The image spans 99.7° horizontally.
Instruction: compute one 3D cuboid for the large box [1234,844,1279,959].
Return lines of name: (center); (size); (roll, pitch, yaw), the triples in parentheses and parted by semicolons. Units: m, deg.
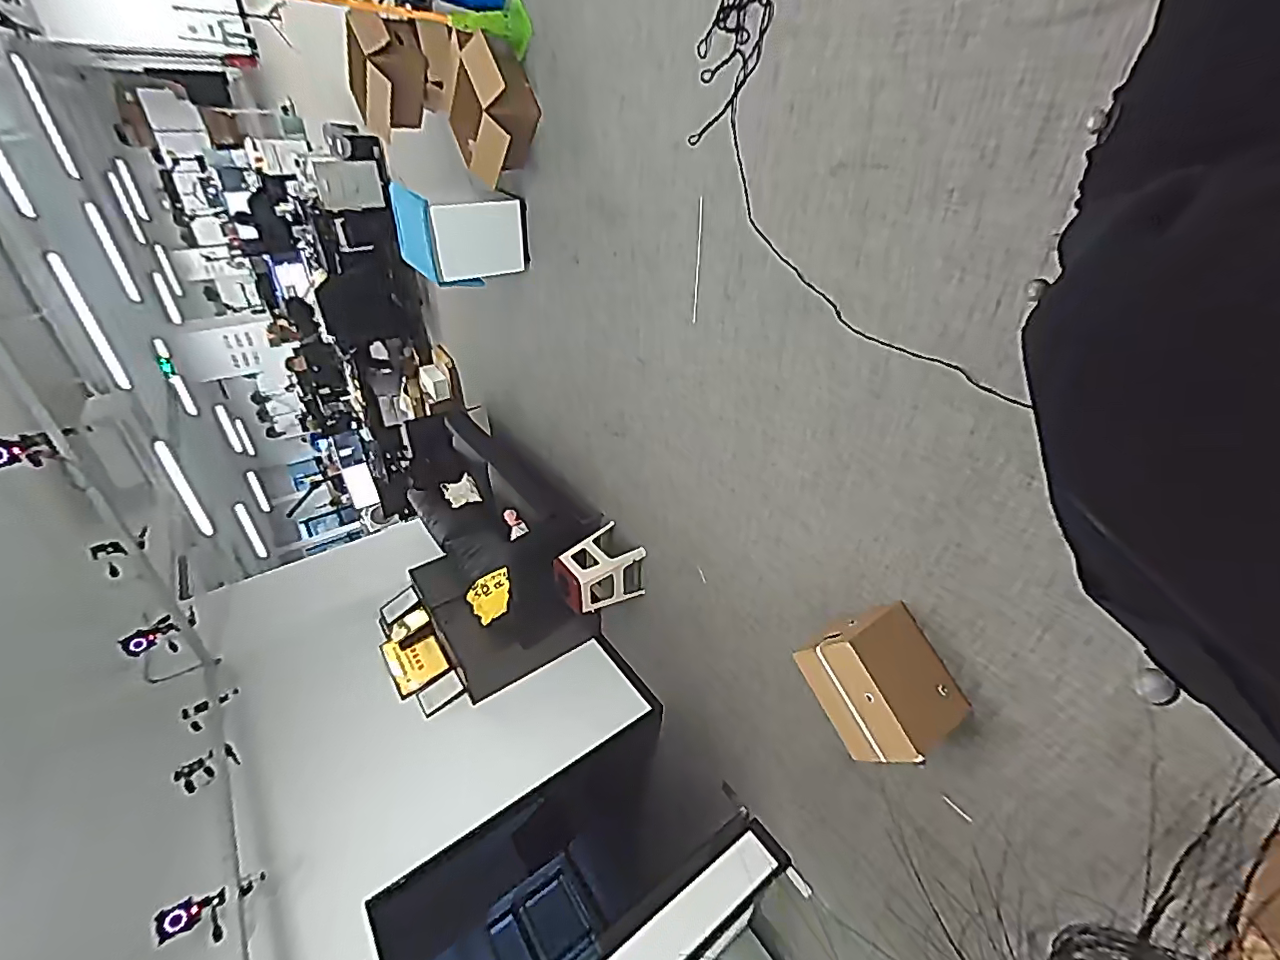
large box: (1.475, 1.041, 1.050); (0.408, 0.320, 0.320); (22, 128, 50)
